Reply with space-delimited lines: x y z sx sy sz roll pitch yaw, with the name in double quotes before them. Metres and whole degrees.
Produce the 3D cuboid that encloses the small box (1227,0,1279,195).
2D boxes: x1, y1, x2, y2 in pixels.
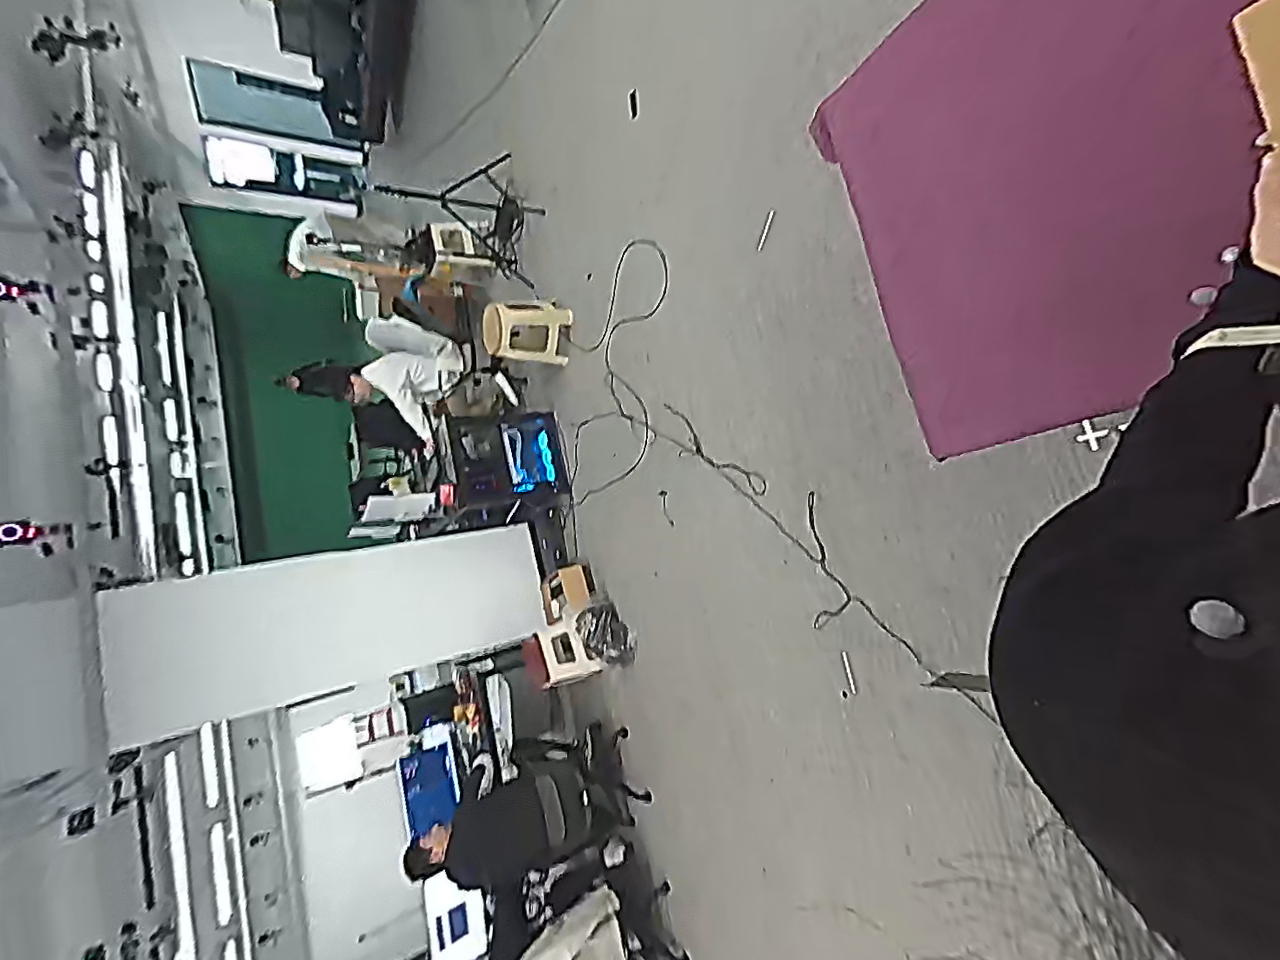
"small box" 0.581 -0.306 0.384 0.168 0.176 0.179 -20 77 60
